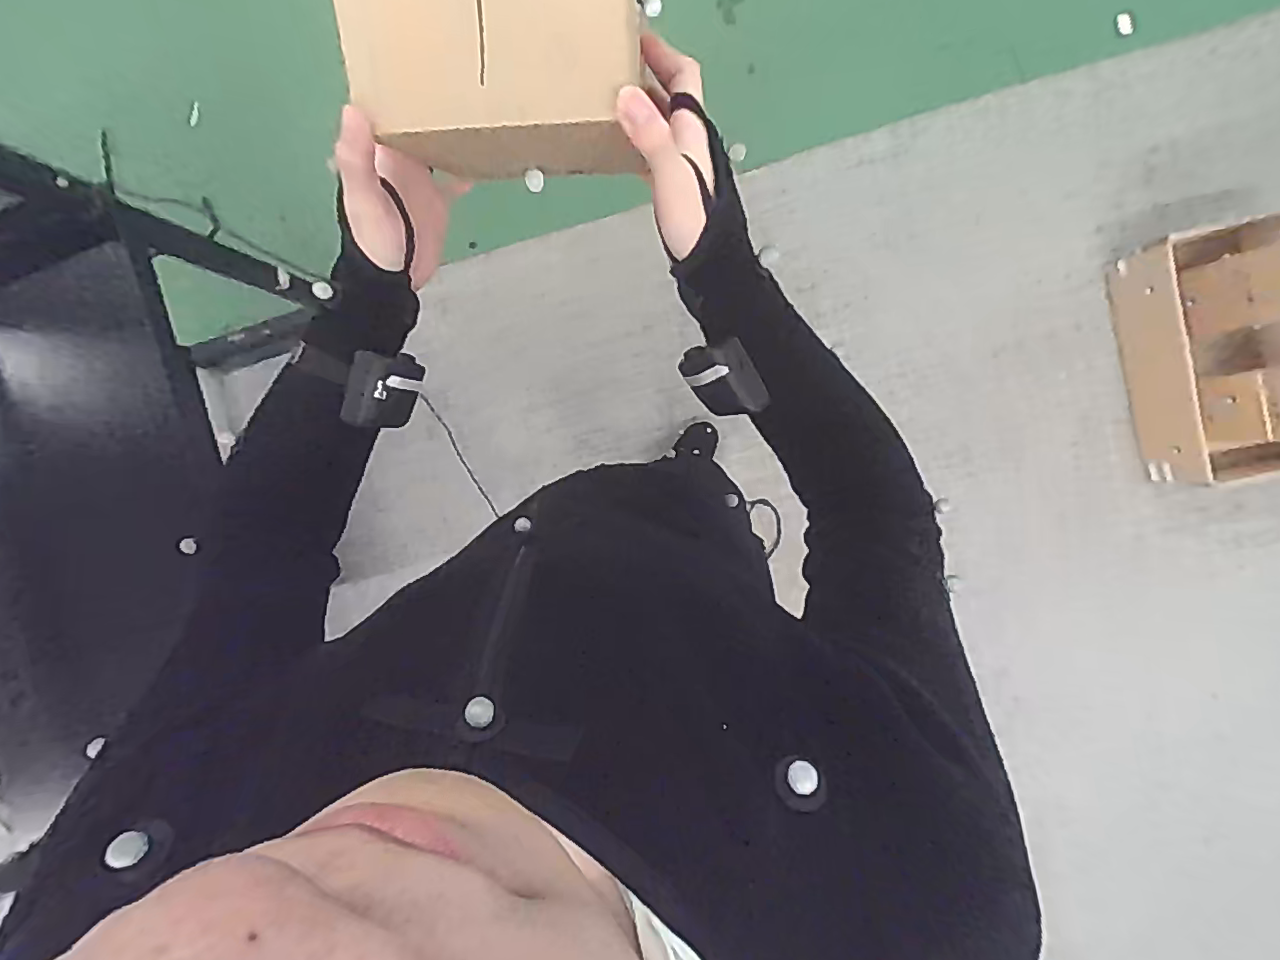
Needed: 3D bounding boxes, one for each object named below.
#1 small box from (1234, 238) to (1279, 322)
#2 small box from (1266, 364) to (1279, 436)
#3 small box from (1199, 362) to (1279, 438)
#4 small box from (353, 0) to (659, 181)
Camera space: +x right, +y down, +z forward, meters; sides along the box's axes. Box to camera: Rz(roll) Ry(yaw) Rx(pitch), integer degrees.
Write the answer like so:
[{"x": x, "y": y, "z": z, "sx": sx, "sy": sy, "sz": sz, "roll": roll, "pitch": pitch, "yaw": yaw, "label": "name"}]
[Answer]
[{"x": 1.448, "y": -0.452, "z": 1.149, "sx": 0.179, "sy": 0.176, "sz": 0.168, "roll": -14, "pitch": 93, "yaw": 7, "label": "small box"}, {"x": 1.518, "y": -0.190, "z": 1.160, "sx": 0.179, "sy": 0.176, "sz": 0.168, "roll": -11, "pitch": 92, "yaw": 6, "label": "small box"}, {"x": 1.533, "y": -0.199, "z": 1.324, "sx": 0.179, "sy": 0.176, "sz": 0.168, "roll": -12, "pitch": 91, "yaw": 7, "label": "small box"}, {"x": -0.074, "y": -0.316, "z": 0.367, "sx": 0.168, "sy": 0.176, "sz": 0.179, "roll": 1, "pitch": 112, "yaw": 5, "label": "small box"}]
